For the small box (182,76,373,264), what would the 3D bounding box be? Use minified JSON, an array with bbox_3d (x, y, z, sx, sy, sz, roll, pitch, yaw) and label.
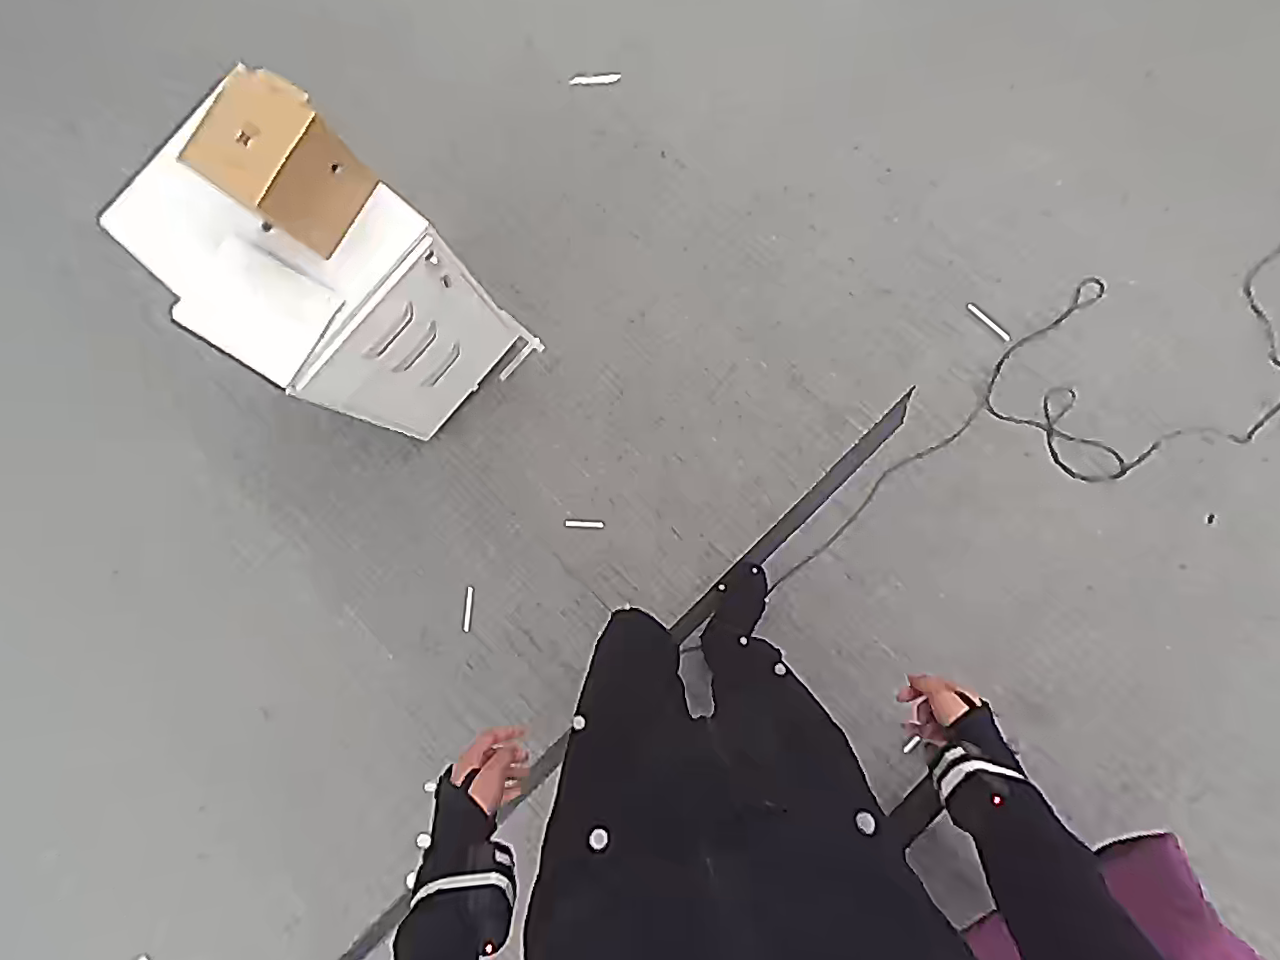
[{"bbox_3d":[-0.586,-0.505,0.903,0.168,0.176,0.179,32,89,7],"label":"small box"}]
